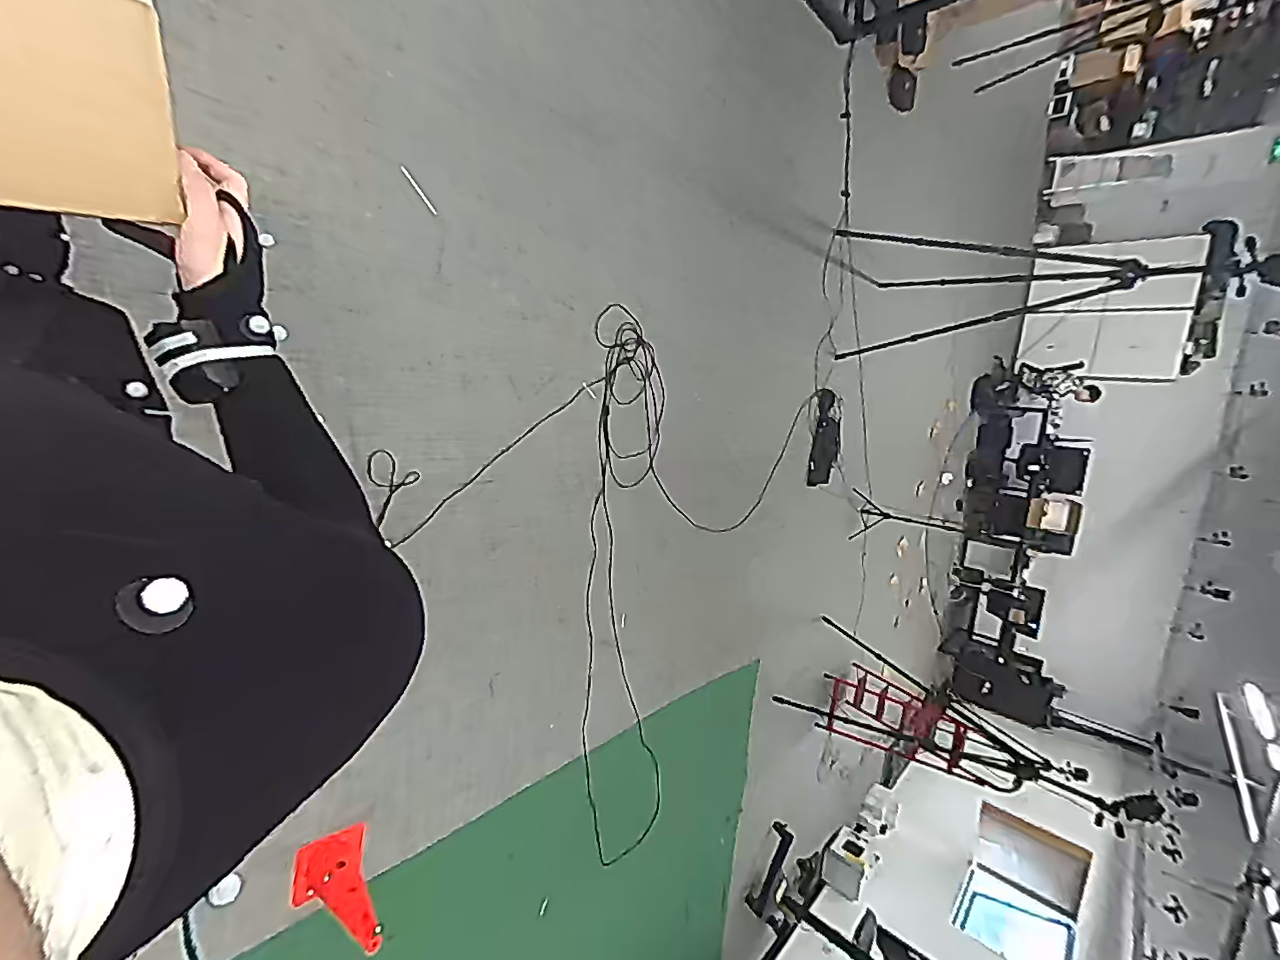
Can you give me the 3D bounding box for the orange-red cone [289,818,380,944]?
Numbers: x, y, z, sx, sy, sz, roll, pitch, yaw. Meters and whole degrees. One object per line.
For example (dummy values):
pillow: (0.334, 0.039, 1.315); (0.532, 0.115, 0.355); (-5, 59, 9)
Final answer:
orange-red cone: (-0.860, 1.220, 1.597); (0.199, 0.360, 0.198); (5, 97, -50)
